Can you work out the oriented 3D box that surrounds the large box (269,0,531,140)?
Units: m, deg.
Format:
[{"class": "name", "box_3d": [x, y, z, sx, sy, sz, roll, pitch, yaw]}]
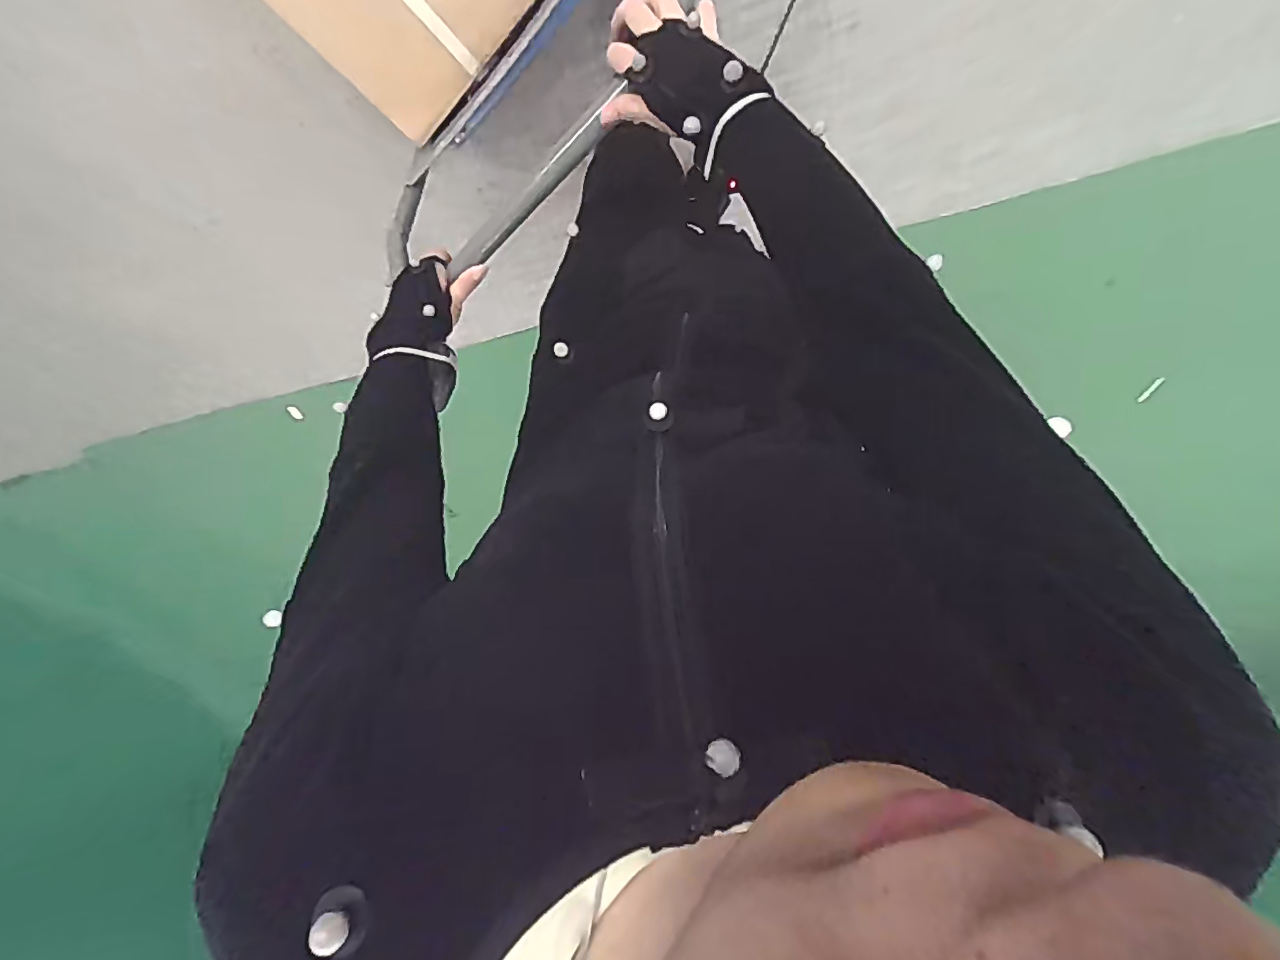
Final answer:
[{"class": "large box", "box_3d": [-0.377, -0.826, 0.799, 0.320, 0.320, 0.408, -33, 131, 27]}]
